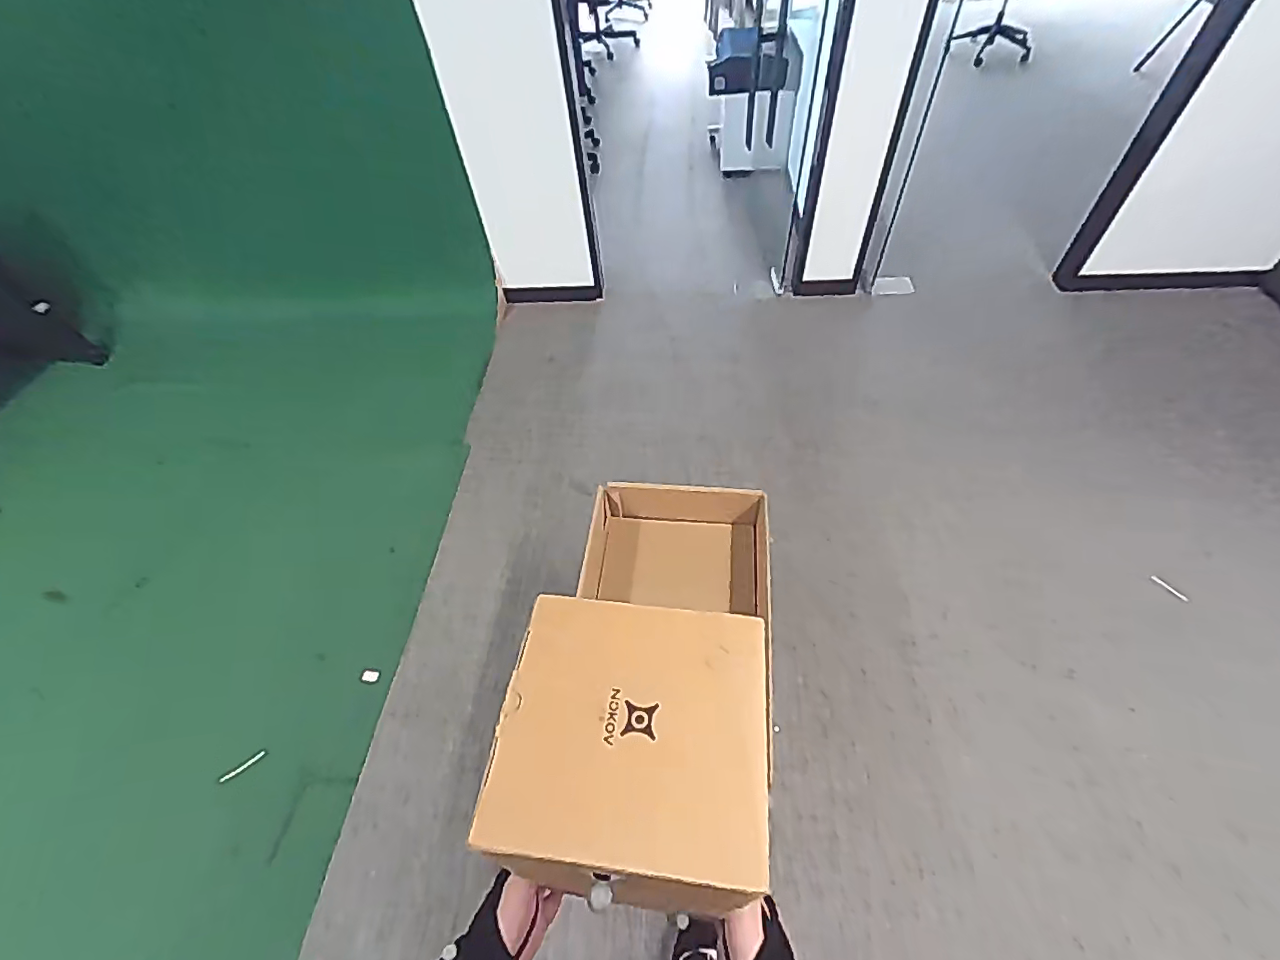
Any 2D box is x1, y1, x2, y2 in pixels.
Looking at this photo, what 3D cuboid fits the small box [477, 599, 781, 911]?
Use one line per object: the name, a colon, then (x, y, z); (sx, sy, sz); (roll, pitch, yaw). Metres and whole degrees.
small box: (0.004, 0.212, 0.414); (0.179, 0.176, 0.168); (4, 49, 7)
